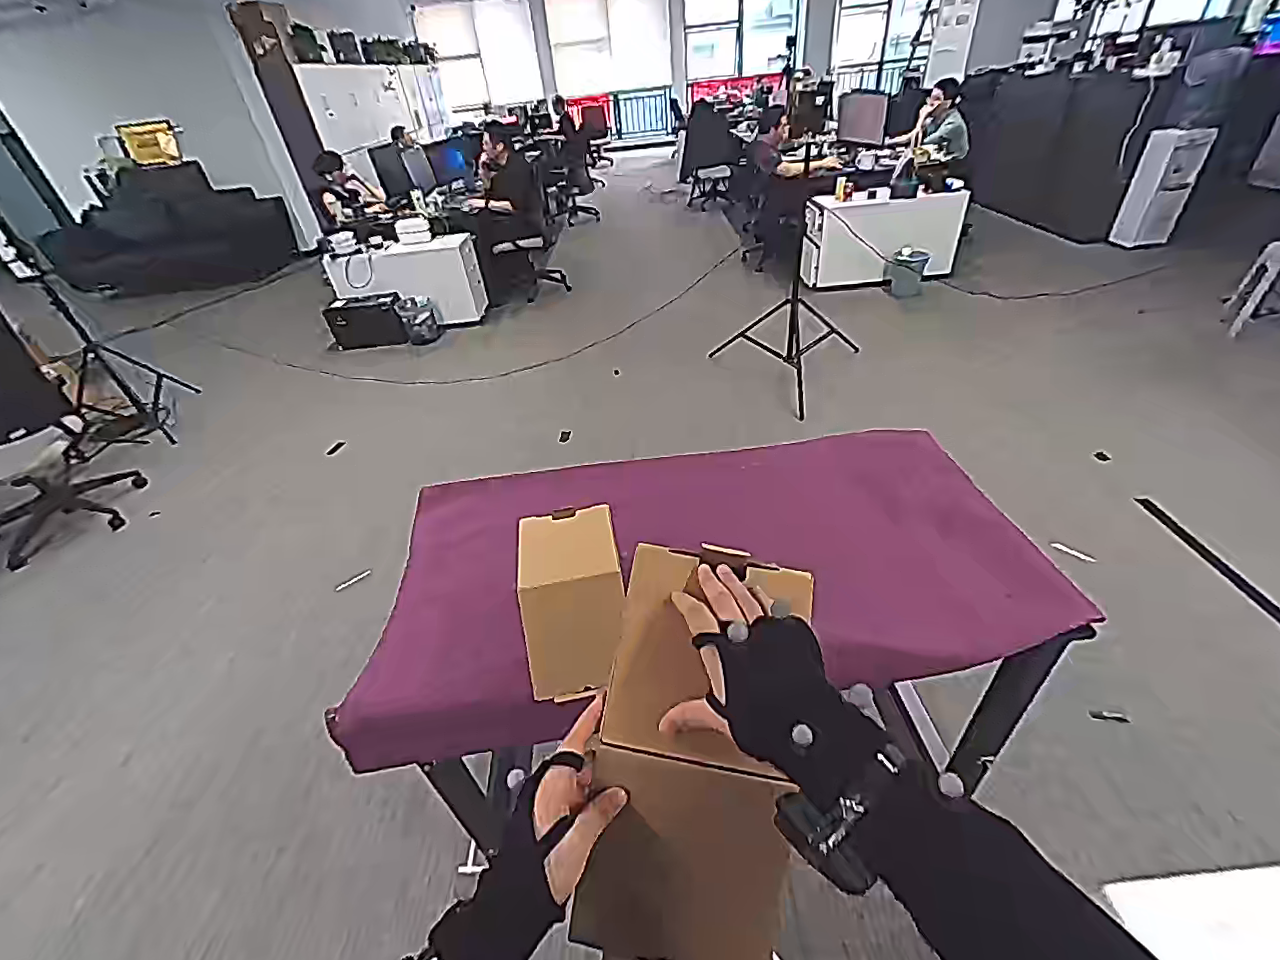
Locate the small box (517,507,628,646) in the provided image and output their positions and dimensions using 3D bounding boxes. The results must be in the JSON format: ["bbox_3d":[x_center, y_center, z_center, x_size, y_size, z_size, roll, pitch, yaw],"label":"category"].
[{"bbox_3d":[-0.119,0.177,0.969,0.168,0.176,0.179,-10,36,-4],"label":"small box"}]
